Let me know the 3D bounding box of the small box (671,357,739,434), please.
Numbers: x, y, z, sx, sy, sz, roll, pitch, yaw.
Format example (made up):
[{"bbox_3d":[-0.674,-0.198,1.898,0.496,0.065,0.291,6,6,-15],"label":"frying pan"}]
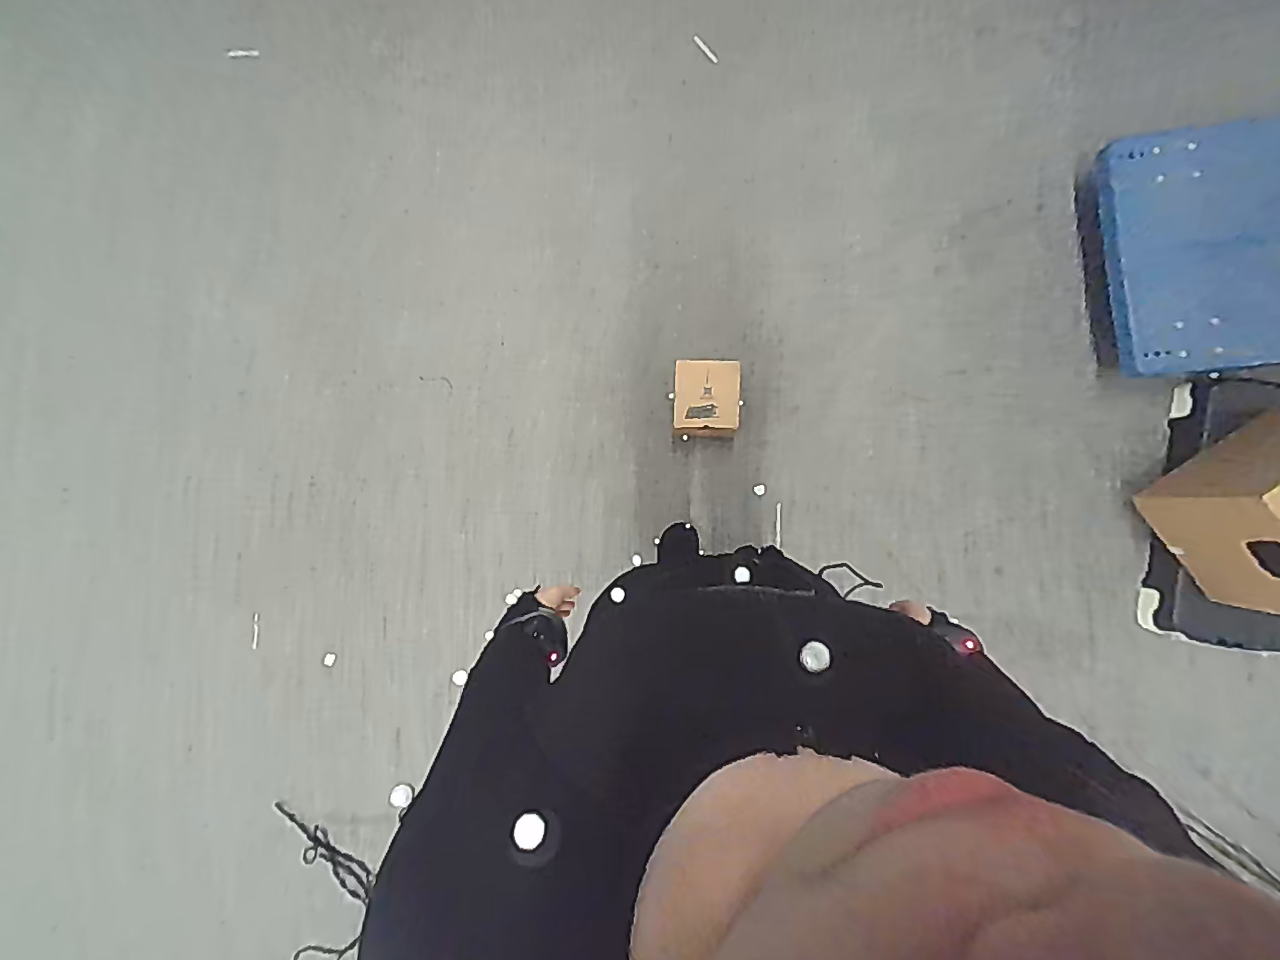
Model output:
[{"bbox_3d":[0.171,-0.219,1.437,0.168,0.176,0.179,2,88,4],"label":"small box"}]
